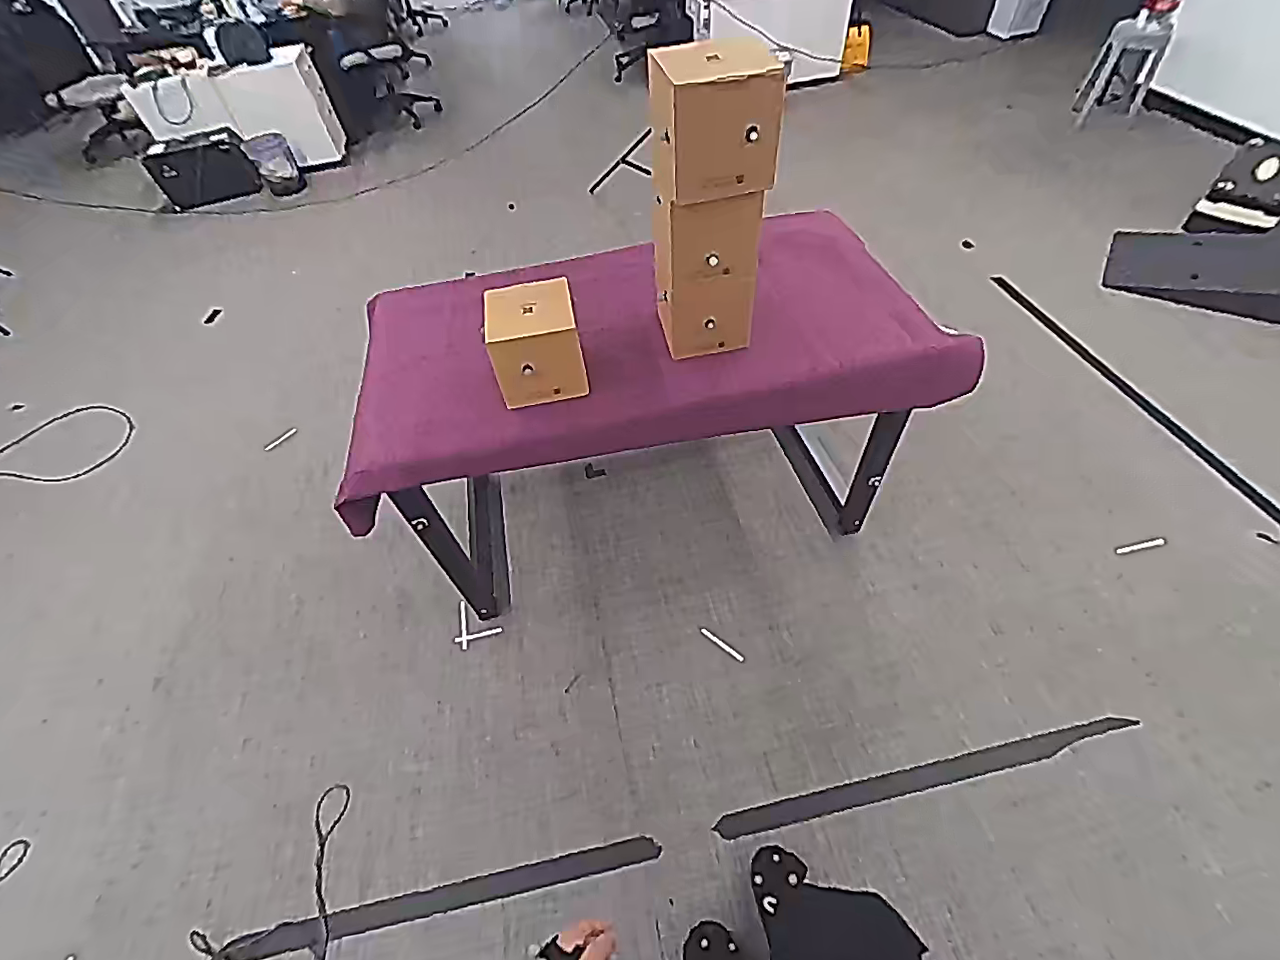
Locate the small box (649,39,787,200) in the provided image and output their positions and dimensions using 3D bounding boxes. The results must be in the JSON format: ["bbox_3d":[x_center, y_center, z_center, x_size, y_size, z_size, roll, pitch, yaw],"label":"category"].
[{"bbox_3d":[0.116,-0.566,0.861,0.168,0.176,0.179,-12,51,-5],"label":"small box"}]

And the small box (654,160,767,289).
[{"bbox_3d":[0.122,-0.482,1.002,0.168,0.176,0.179,-10,52,-2],"label":"small box"}]

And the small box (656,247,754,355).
[{"bbox_3d":[0.132,-0.378,1.129,0.168,0.176,0.179,-9,51,-3],"label":"small box"}]

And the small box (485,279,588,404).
[{"bbox_3d":[-0.202,-0.268,1.074,0.168,0.176,0.179,-11,51,-4],"label":"small box"}]
